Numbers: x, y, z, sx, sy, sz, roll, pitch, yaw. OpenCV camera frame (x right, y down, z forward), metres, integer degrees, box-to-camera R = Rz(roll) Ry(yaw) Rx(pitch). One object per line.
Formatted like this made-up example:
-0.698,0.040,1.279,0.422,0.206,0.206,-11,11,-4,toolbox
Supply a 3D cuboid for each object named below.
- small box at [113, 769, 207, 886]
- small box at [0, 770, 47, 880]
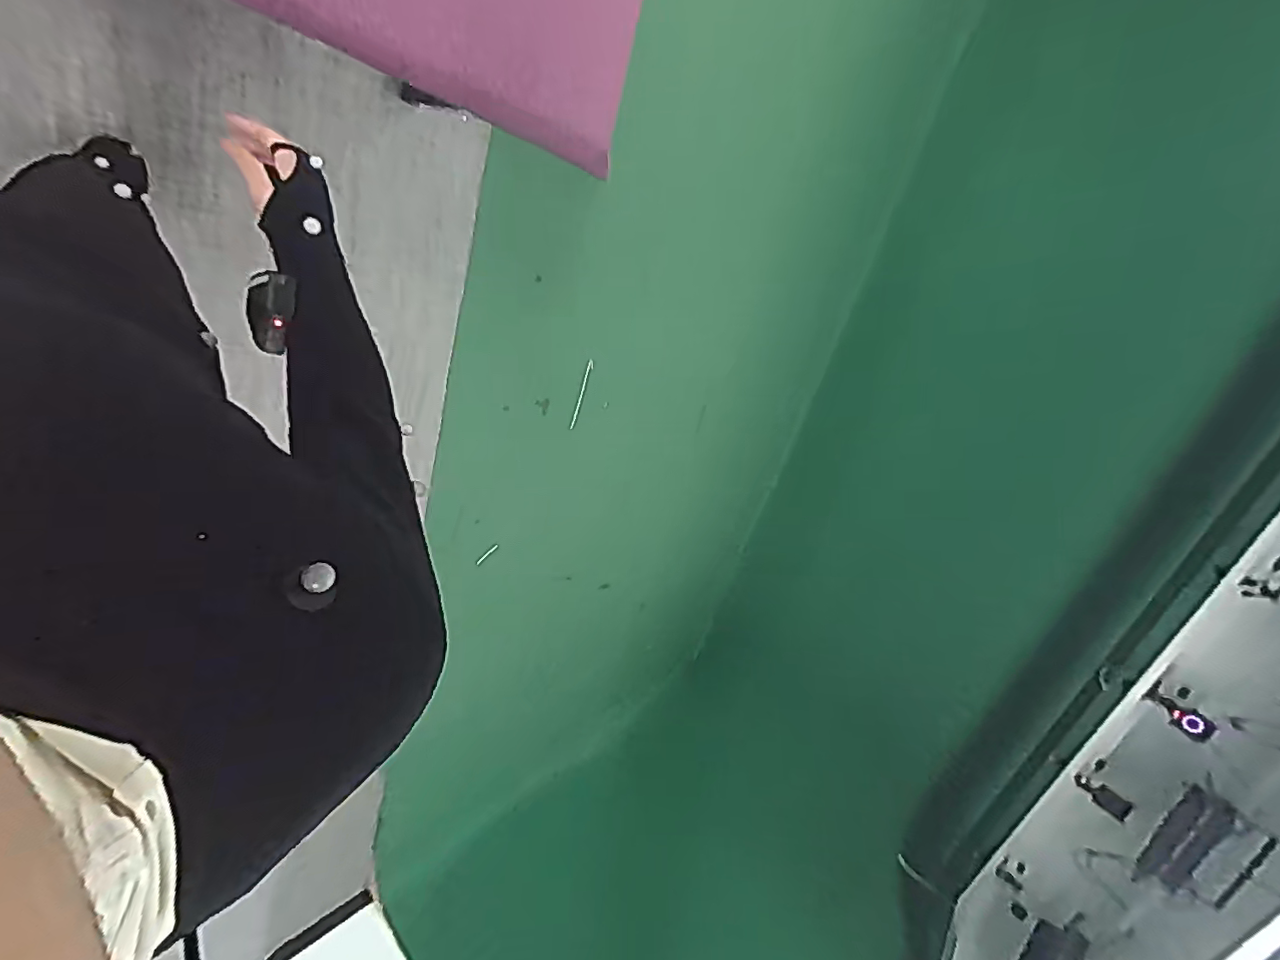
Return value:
-1.319,0.942,1.483,0.168,0.176,0.179,-1,118,-52,small box
-1.608,0.872,1.342,0.168,0.176,0.179,-4,119,-53,small box
